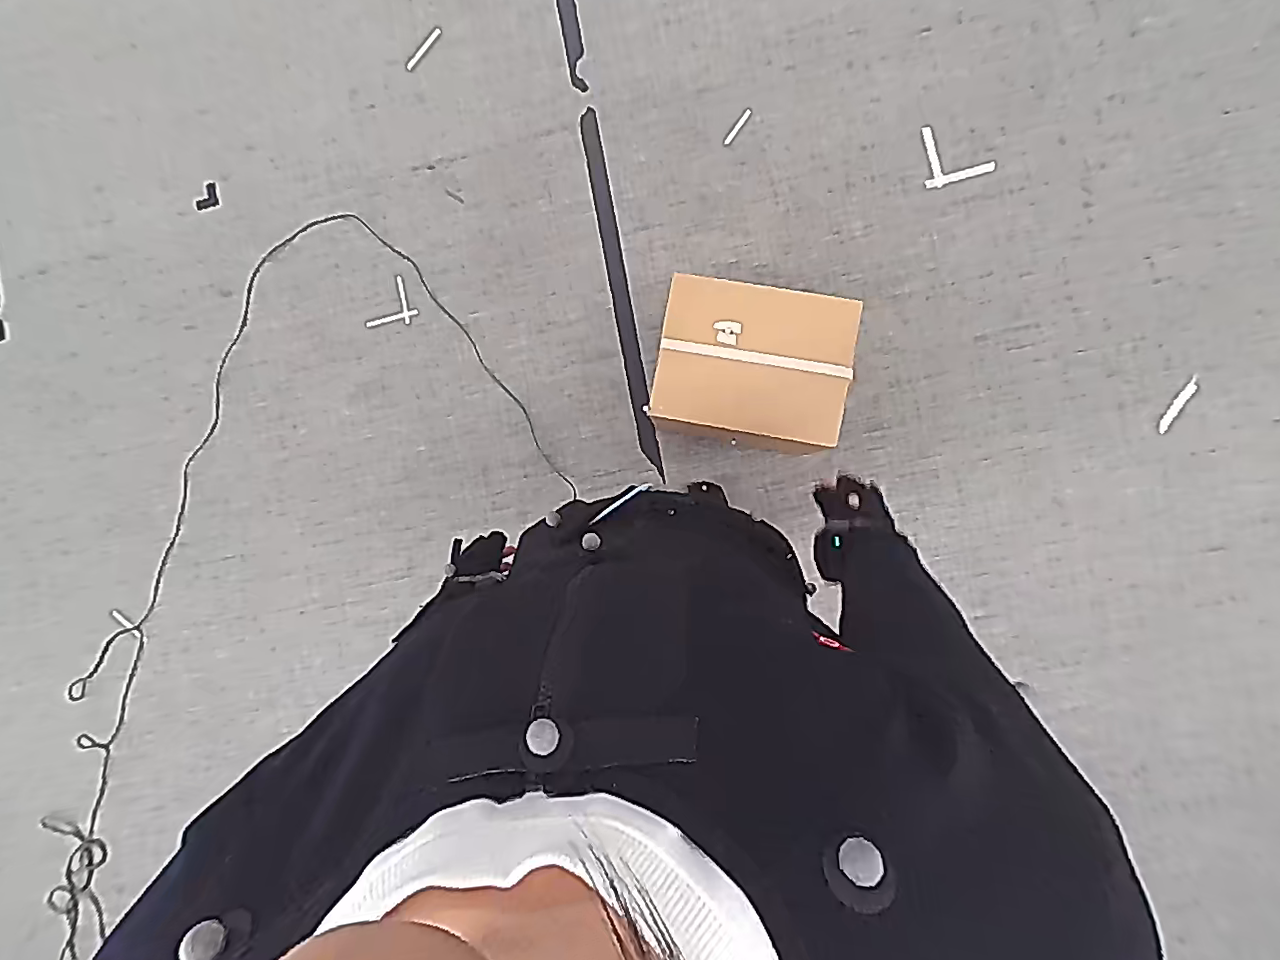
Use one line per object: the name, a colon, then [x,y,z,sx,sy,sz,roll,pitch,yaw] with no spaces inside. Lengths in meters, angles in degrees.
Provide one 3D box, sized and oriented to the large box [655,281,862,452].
large box: [0.269,-0.252,1.306,0.408,0.320,0.320,10,90,6]
